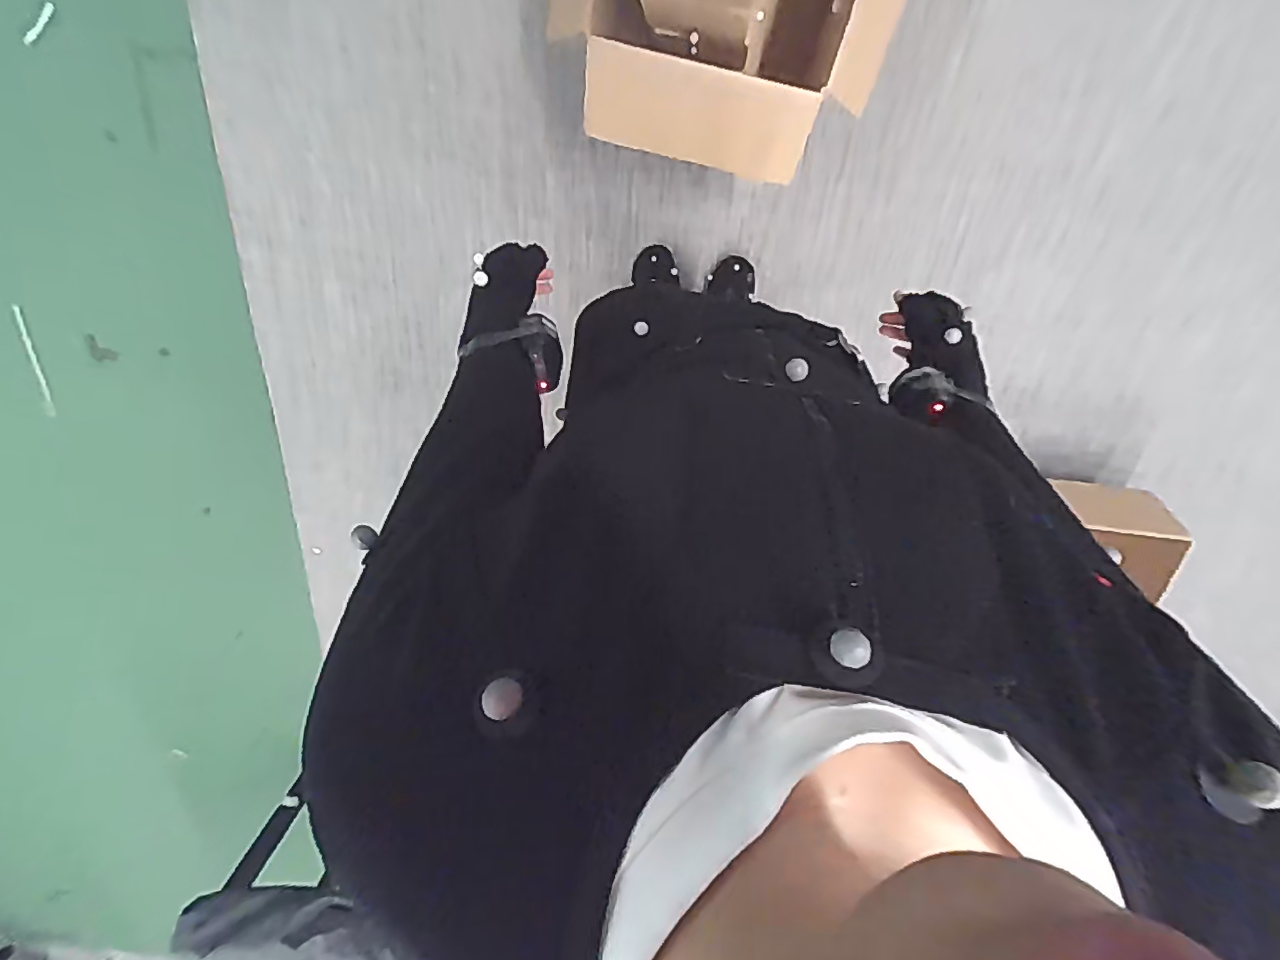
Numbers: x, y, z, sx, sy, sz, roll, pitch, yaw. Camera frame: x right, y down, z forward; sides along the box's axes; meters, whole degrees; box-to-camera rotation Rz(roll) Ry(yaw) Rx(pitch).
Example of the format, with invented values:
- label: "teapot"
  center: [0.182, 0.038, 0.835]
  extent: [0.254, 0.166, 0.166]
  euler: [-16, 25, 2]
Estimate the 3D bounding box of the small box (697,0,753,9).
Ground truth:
- label: "small box"
  center: [0.088, -0.754, 0.703]
  extent: [0.179, 0.176, 0.168]
  euler: [13, 117, 0]
